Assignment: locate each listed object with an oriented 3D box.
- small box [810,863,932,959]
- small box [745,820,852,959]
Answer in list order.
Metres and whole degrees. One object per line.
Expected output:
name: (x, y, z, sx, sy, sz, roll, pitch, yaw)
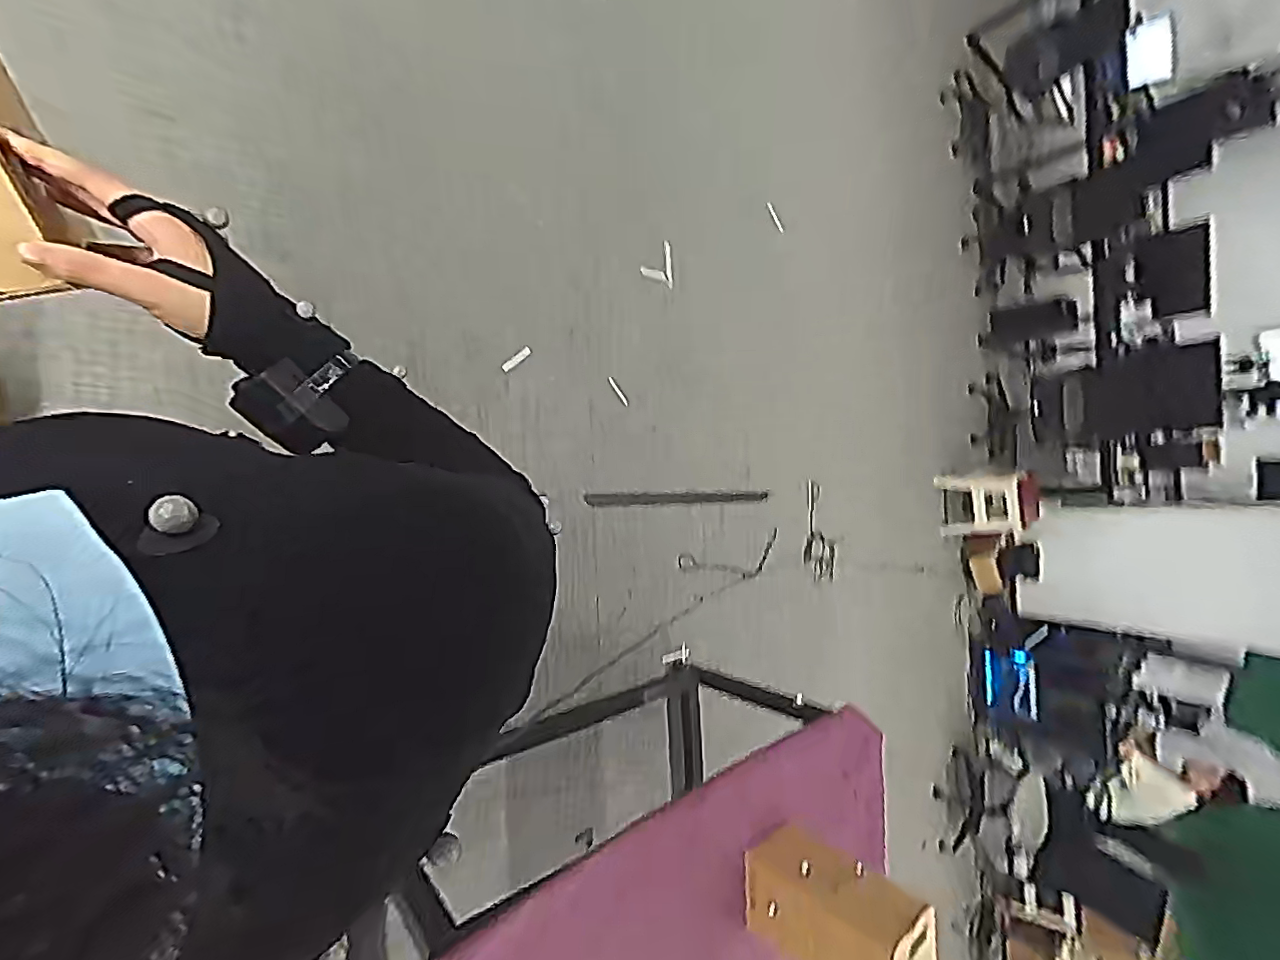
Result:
small box: (0.448, 0.898, 1.059, 0.168, 0.176, 0.179, -3, 91, -38)
small box: (0.345, 0.895, 1.188, 0.179, 0.176, 0.168, 0, 89, -39)
